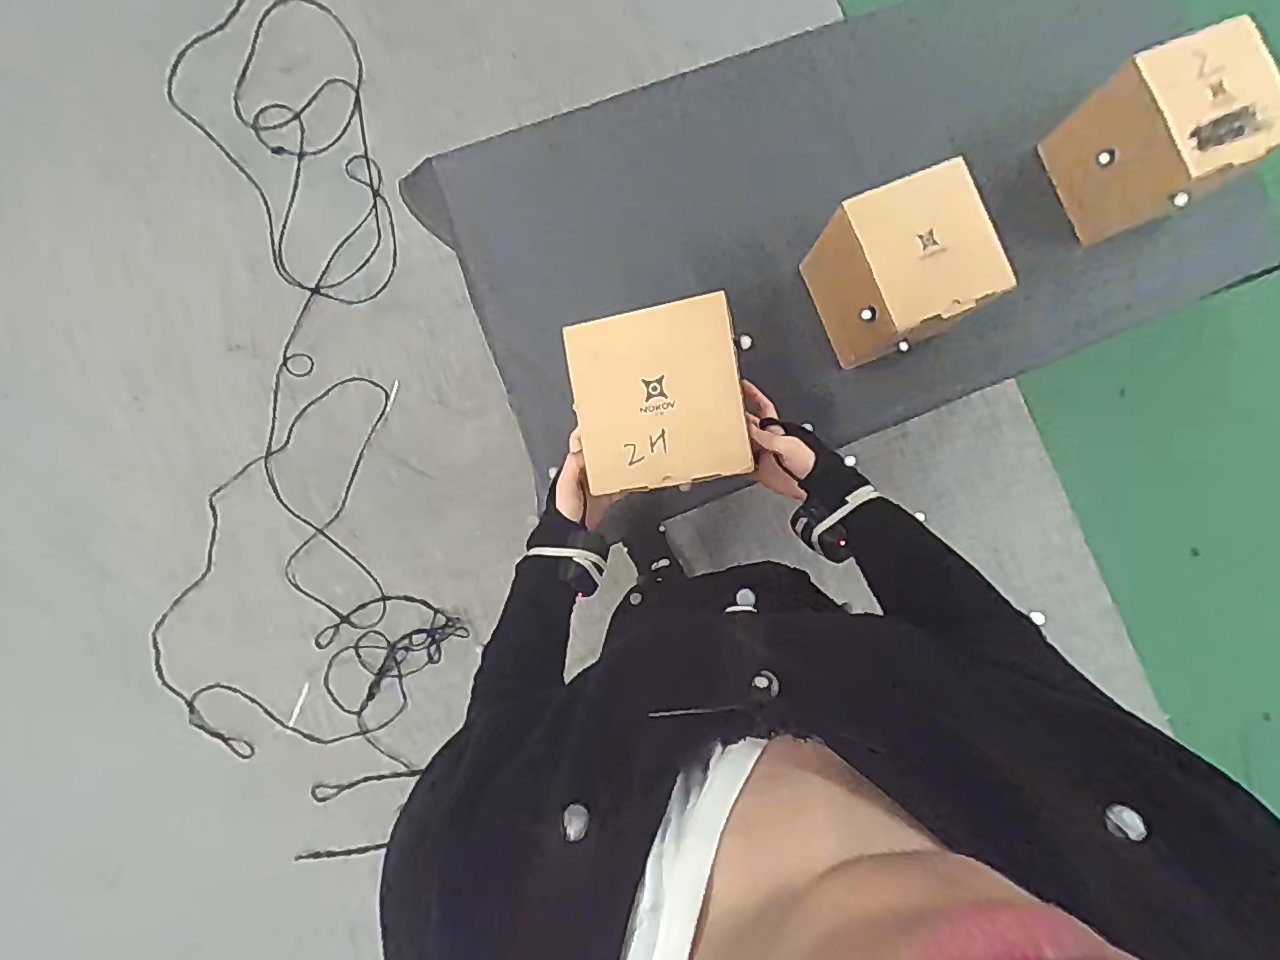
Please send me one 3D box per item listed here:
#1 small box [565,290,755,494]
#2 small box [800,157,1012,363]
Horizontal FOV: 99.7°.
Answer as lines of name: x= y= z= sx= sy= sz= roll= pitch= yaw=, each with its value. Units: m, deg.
small box: x=0.032 y=-0.086 z=0.598 sx=0.168 sy=0.176 sz=0.179 roll=-9 pitch=93 yaw=12
small box: x=0.342 y=-0.284 z=0.734 sx=0.168 sy=0.176 sz=0.179 roll=-22 pitch=88 yaw=-3
